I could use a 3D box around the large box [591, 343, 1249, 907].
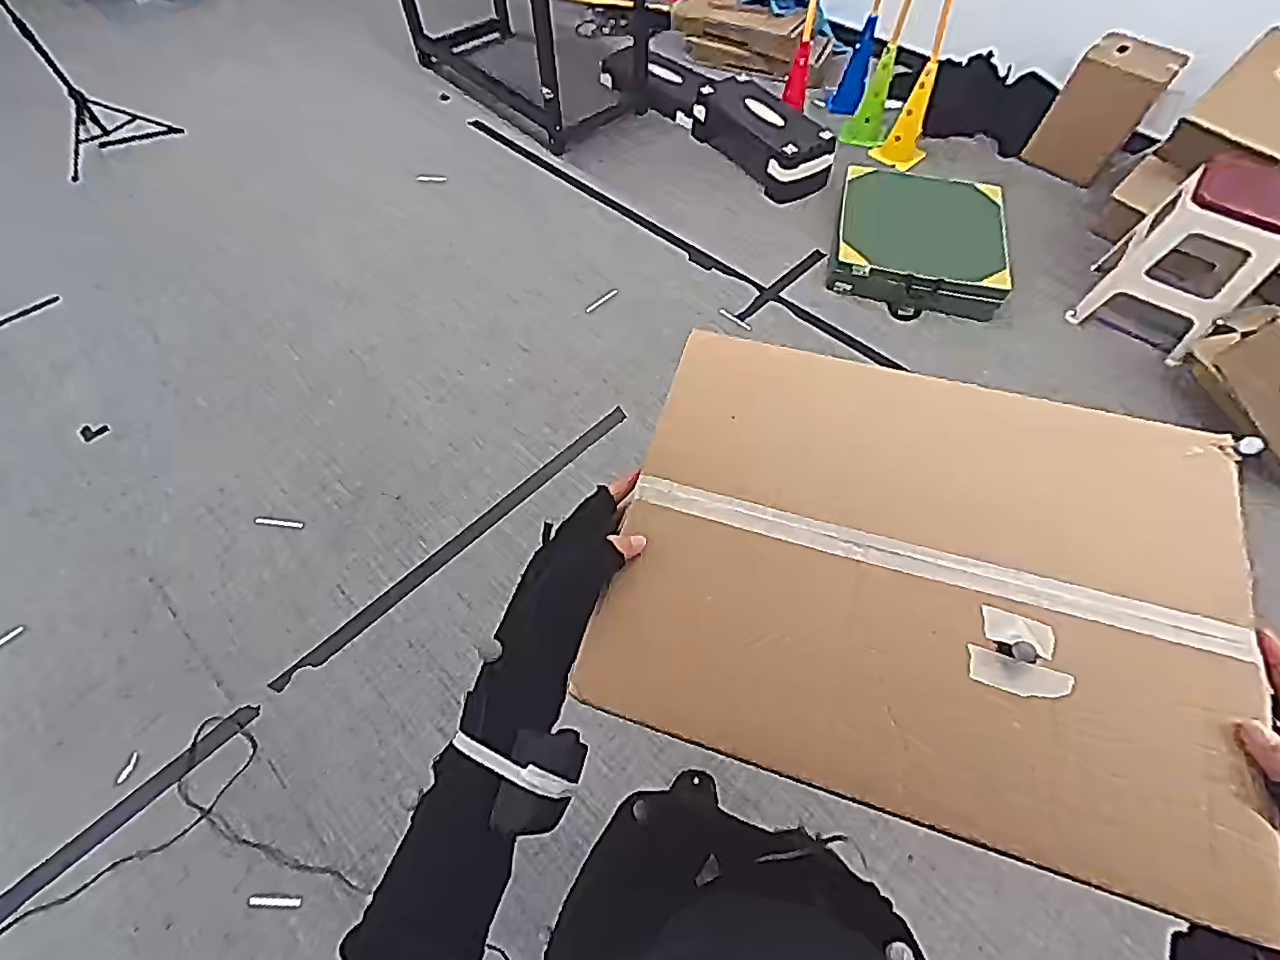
[{"bbox_3d":[0.207,0.117,0.527,0.408,0.320,0.320,15,70,11],"label":"large box"}]
